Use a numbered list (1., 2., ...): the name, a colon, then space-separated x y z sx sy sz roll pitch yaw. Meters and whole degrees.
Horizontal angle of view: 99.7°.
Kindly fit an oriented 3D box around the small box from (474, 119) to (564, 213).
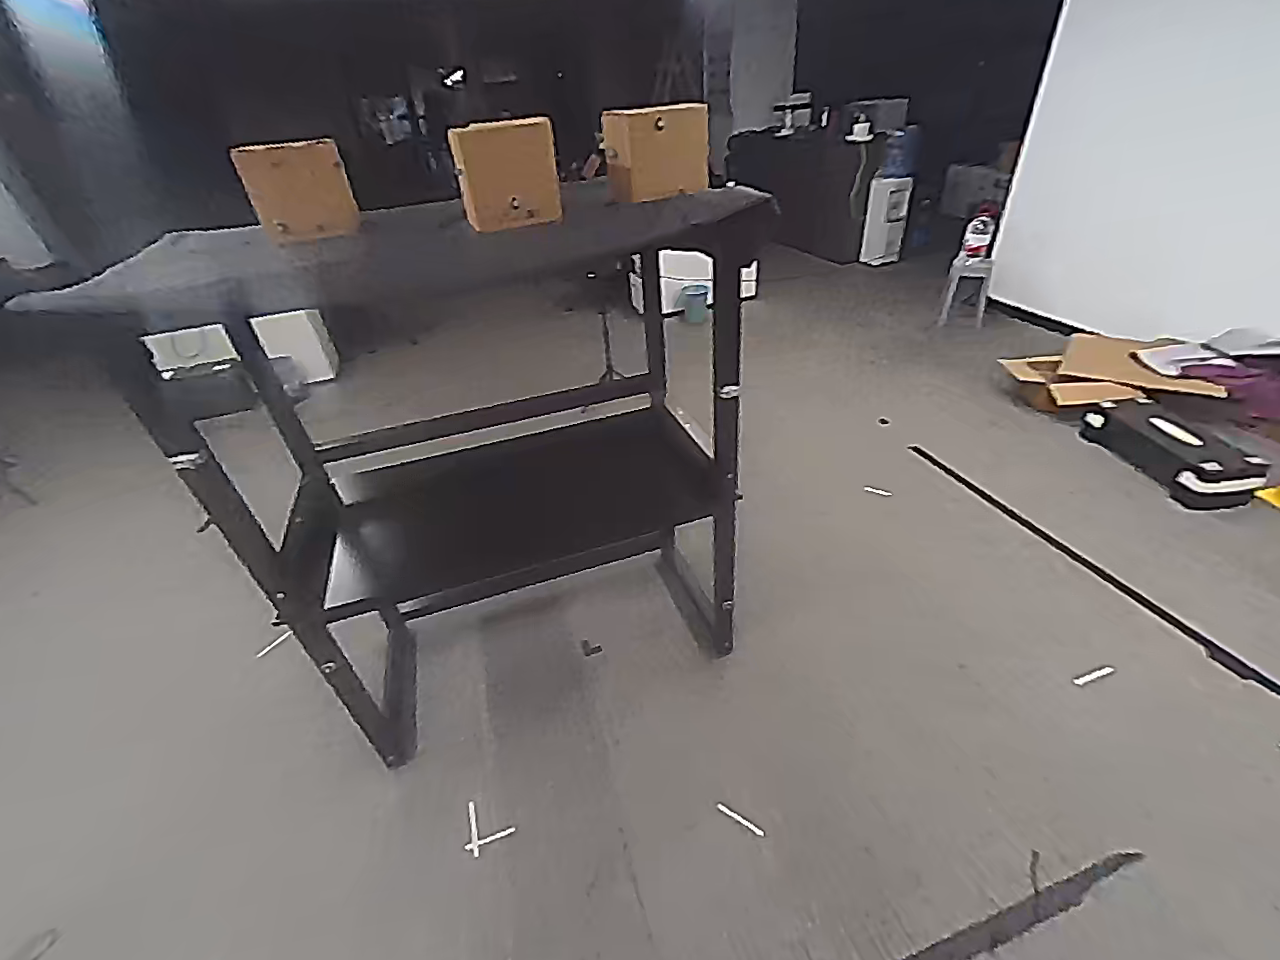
1. small box: -0.279 -0.722 1.246 0.168 0.176 0.179 -14 36 -11

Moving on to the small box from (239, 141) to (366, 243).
1. small box: -0.701 -0.610 1.149 0.168 0.176 0.179 -14 36 -12
